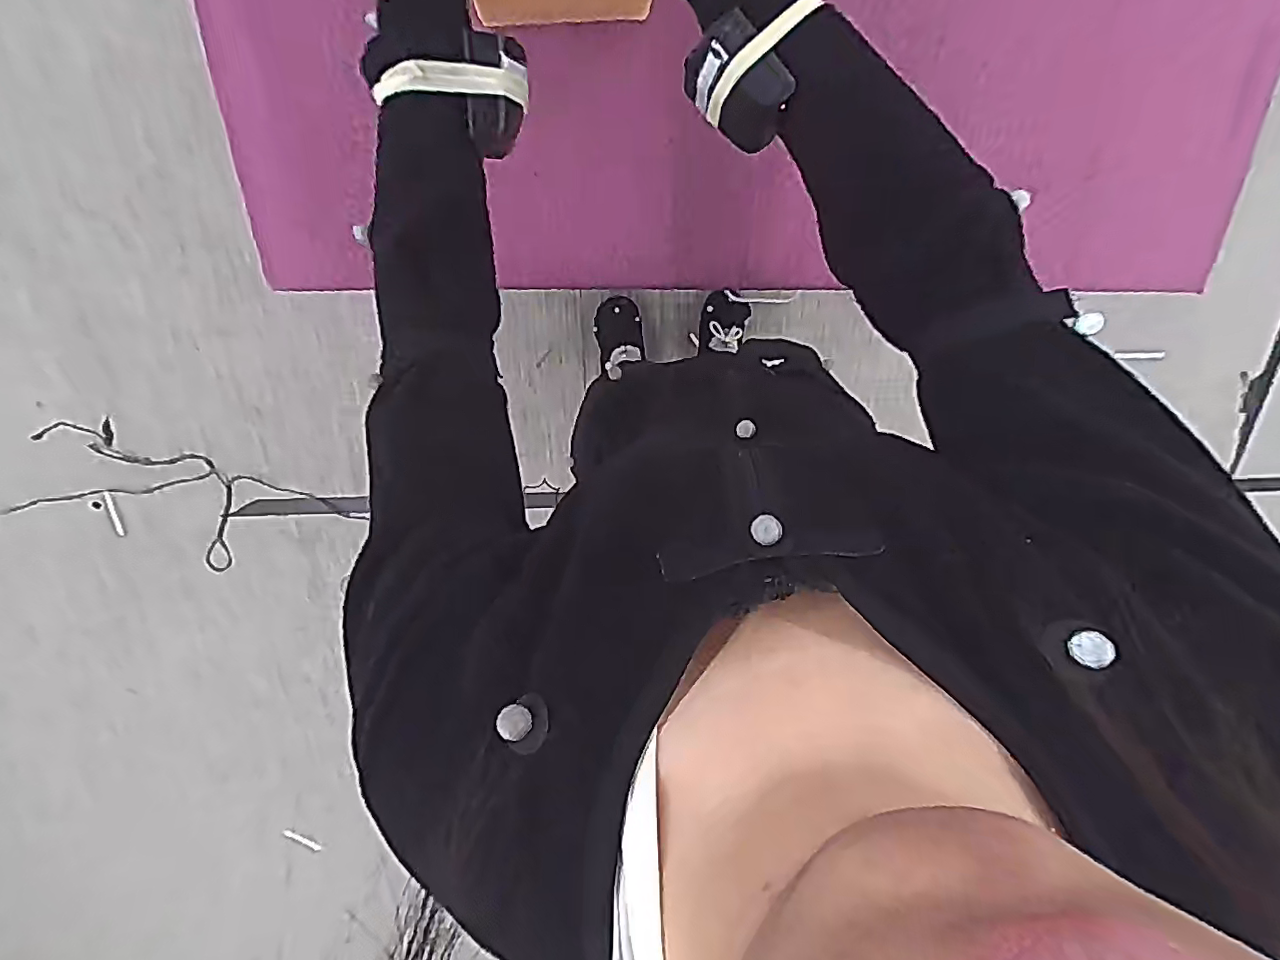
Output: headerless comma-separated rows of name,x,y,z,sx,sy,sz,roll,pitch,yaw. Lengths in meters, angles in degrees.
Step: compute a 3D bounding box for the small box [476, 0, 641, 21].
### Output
small box,-0.075,-0.530,0.466,0.179,0.176,0.168,-5,113,-4
